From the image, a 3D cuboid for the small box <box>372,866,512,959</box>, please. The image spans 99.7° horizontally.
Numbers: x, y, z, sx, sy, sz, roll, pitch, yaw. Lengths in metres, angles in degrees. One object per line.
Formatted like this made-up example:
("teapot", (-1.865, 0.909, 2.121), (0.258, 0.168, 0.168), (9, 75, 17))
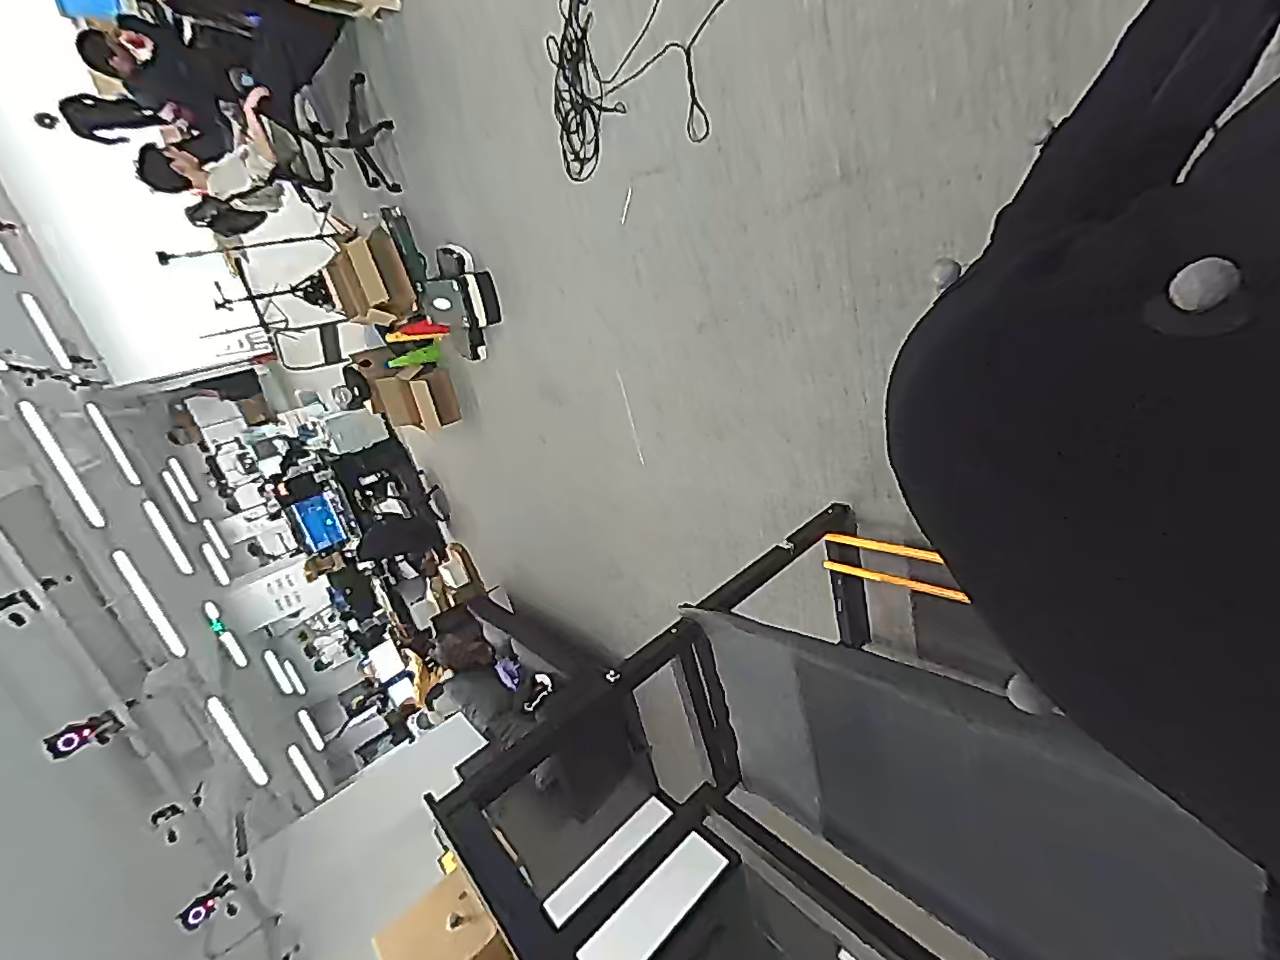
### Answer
("small box", (-0.334, 0.842, 0.946), (0.168, 0.176, 0.179), (16, 124, 48))
